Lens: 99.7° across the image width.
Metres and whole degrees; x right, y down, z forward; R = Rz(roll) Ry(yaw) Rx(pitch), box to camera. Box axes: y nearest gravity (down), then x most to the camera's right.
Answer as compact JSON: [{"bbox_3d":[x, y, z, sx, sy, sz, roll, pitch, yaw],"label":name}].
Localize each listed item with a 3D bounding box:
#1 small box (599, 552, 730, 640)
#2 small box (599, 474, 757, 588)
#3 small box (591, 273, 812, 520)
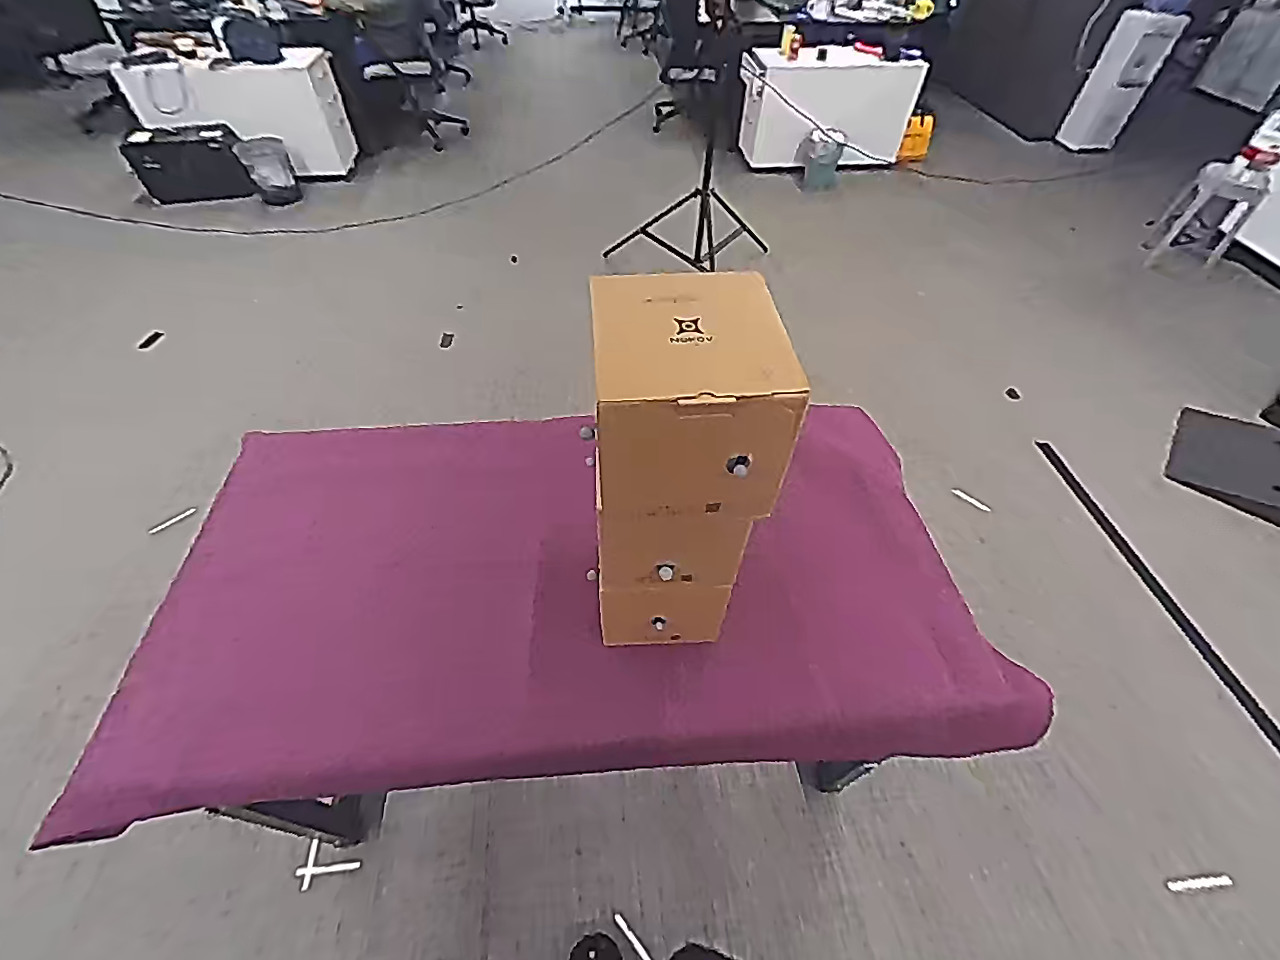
[{"bbox_3d":[0.028,0.122,0.779,0.168,0.176,0.179,-1,50,-3],"label":"small box"},{"bbox_3d":[0.034,0.013,0.656,0.168,0.176,0.179,-2,51,-3],"label":"small box"},{"bbox_3d":[0.042,-0.074,0.517,0.168,0.176,0.179,-4,50,-5],"label":"small box"}]
